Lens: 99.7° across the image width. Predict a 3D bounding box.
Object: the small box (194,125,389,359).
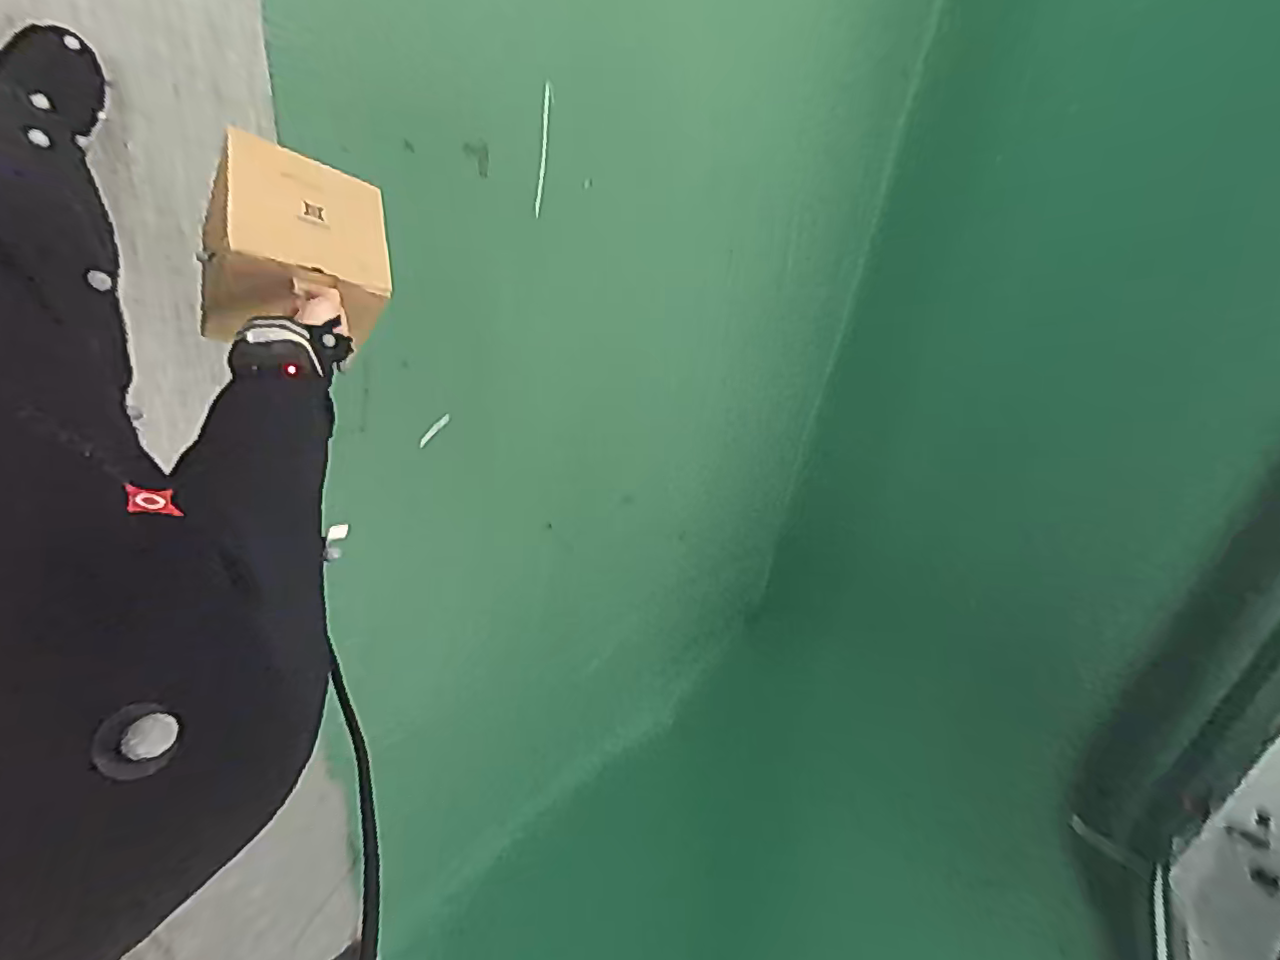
[{"bbox_3d":[-0.435,-0.275,0.673,0.176,0.179,0.168,-30,157,38],"label":"small box"}]
